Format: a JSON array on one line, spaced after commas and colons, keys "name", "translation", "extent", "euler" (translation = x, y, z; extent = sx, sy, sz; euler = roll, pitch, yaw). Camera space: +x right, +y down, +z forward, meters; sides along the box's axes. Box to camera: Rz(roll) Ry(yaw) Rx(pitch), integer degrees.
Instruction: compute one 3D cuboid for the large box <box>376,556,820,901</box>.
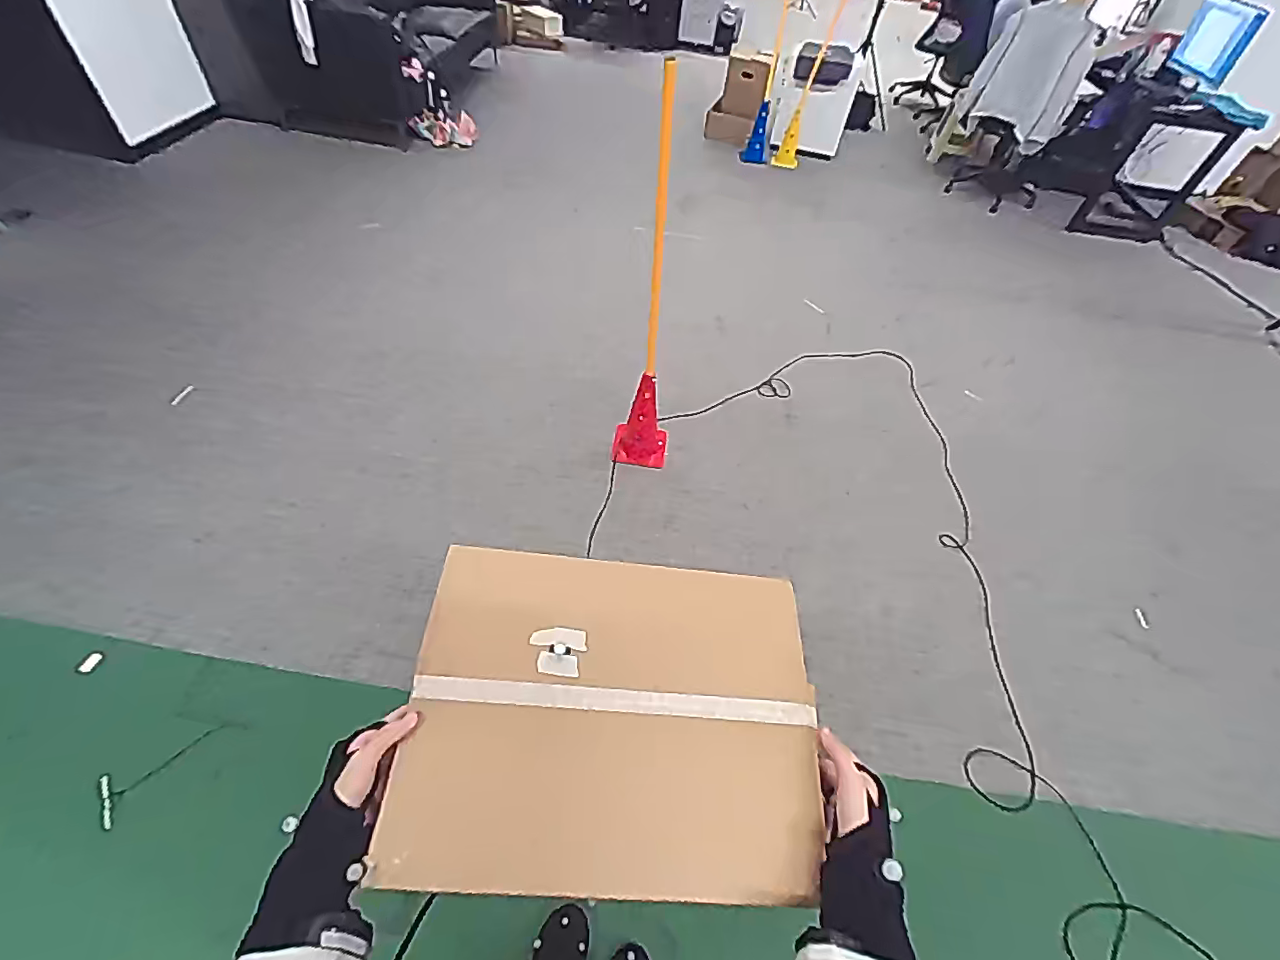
[{"name": "large box", "translation": [-0.043, 0.315, 0.682], "extent": [0.408, 0.320, 0.320], "euler": [7, 55, -5]}]
